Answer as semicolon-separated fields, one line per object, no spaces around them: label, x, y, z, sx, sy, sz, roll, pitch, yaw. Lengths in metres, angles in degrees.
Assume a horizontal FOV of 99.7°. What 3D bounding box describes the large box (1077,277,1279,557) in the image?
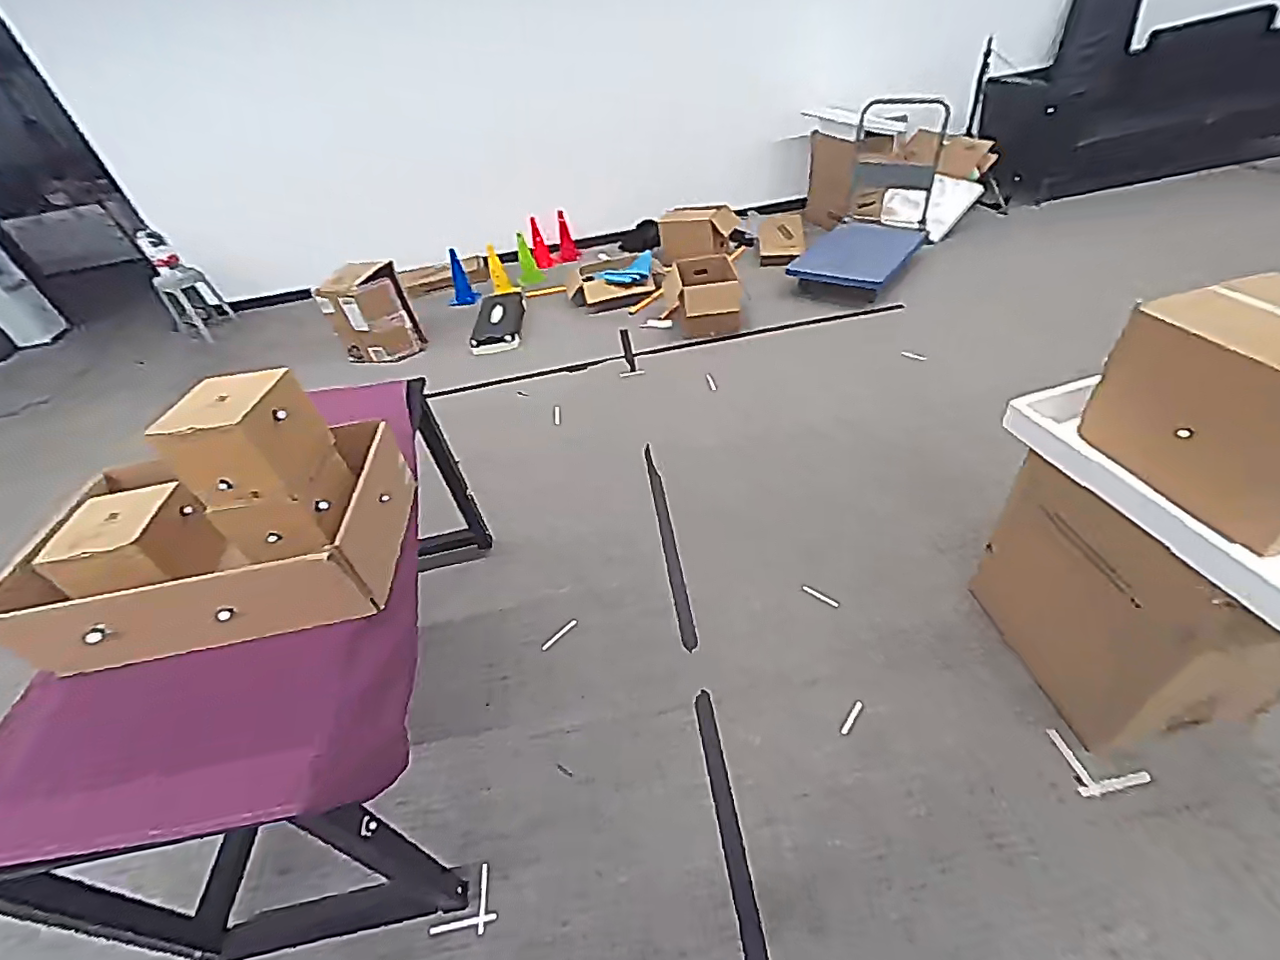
large box;1.156;-0.129;0.997;0.320;0.320;0.408;-13;40;-5

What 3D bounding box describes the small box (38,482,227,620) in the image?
small box;-0.932;0.133;1.020;0.168;0.176;0.179;-12;41;-4
